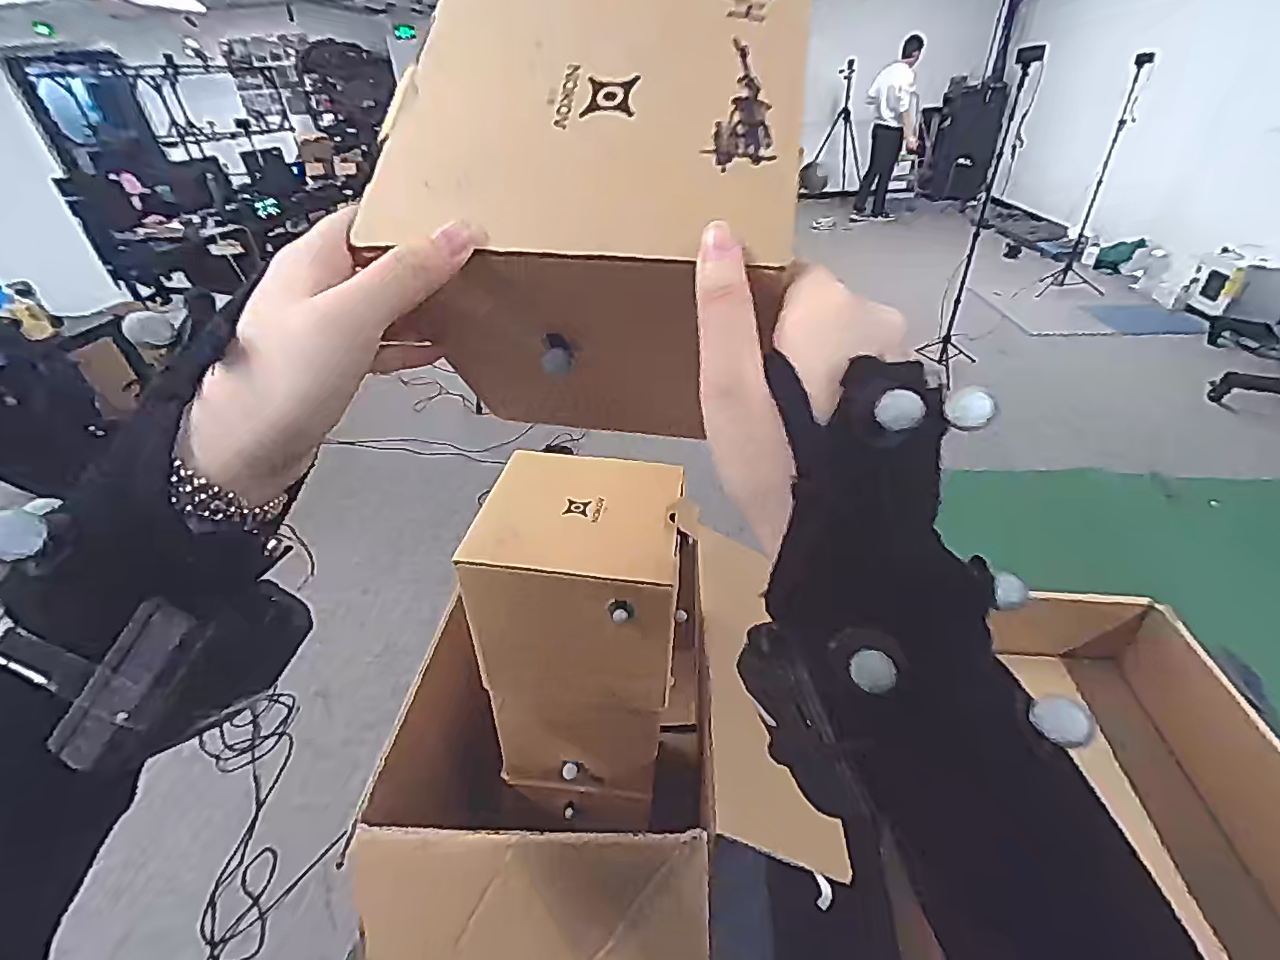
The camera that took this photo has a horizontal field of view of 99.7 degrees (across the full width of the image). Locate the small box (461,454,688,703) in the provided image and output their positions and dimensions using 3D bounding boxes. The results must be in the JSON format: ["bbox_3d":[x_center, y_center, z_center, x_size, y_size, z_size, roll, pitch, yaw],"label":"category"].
[{"bbox_3d":[-0.050,0.094,0.528,0.179,0.176,0.168,6,36,4],"label":"small box"}]
